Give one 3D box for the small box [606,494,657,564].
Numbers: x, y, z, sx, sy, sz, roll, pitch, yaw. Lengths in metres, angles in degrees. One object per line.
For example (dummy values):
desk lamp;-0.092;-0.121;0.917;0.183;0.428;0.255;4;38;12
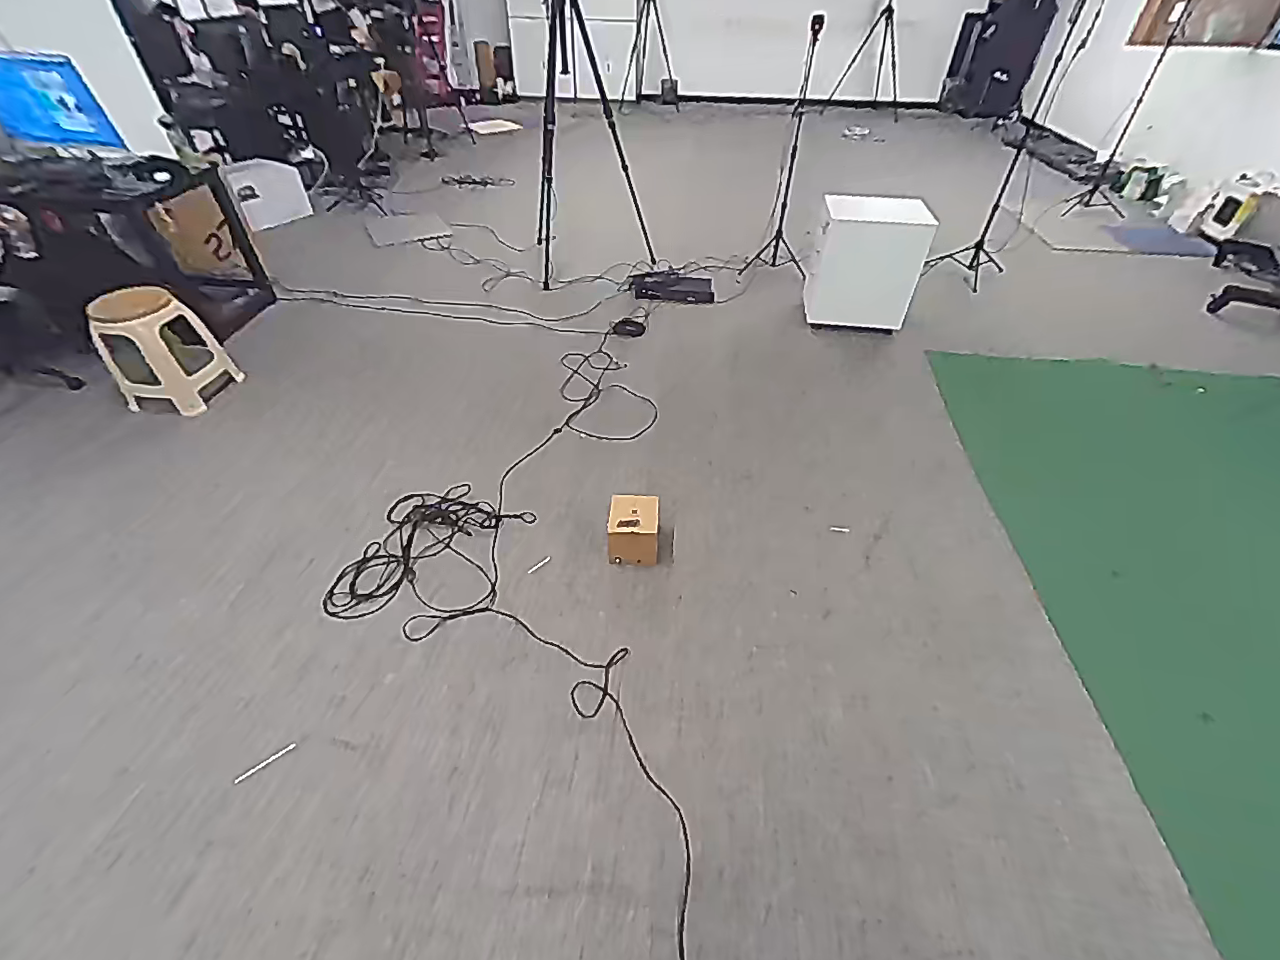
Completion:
small box;-0.026;0.171;1.861;0.168;0.176;0.179;3;43;2
